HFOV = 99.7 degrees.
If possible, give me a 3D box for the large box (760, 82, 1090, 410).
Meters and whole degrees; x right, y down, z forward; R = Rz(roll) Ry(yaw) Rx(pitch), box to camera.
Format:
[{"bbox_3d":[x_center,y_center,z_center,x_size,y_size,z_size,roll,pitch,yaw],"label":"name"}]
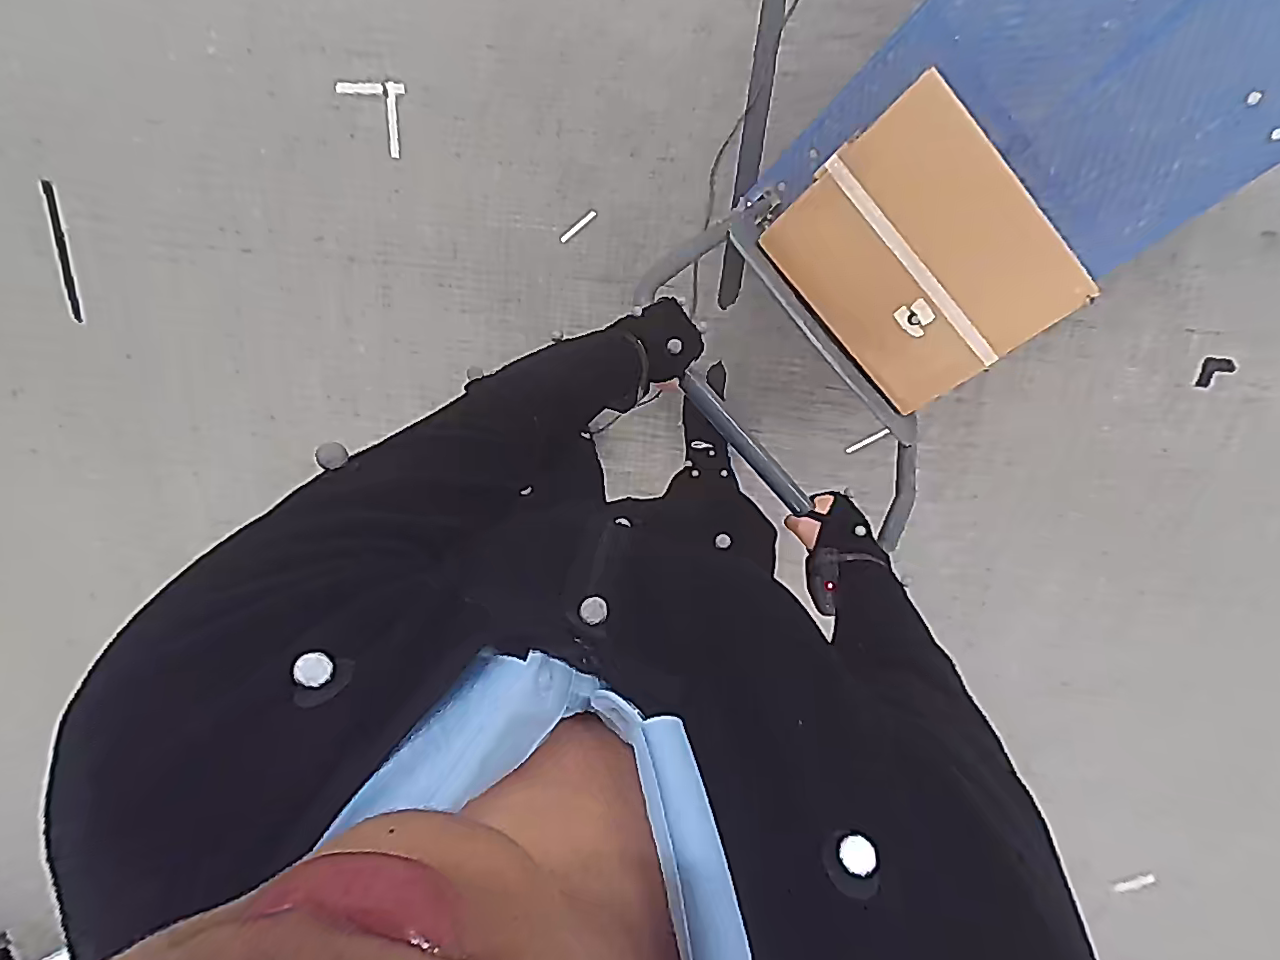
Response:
[{"bbox_3d":[0.484,-0.412,0.979,0.408,0.320,0.320,46,127,-8],"label":"large box"}]
